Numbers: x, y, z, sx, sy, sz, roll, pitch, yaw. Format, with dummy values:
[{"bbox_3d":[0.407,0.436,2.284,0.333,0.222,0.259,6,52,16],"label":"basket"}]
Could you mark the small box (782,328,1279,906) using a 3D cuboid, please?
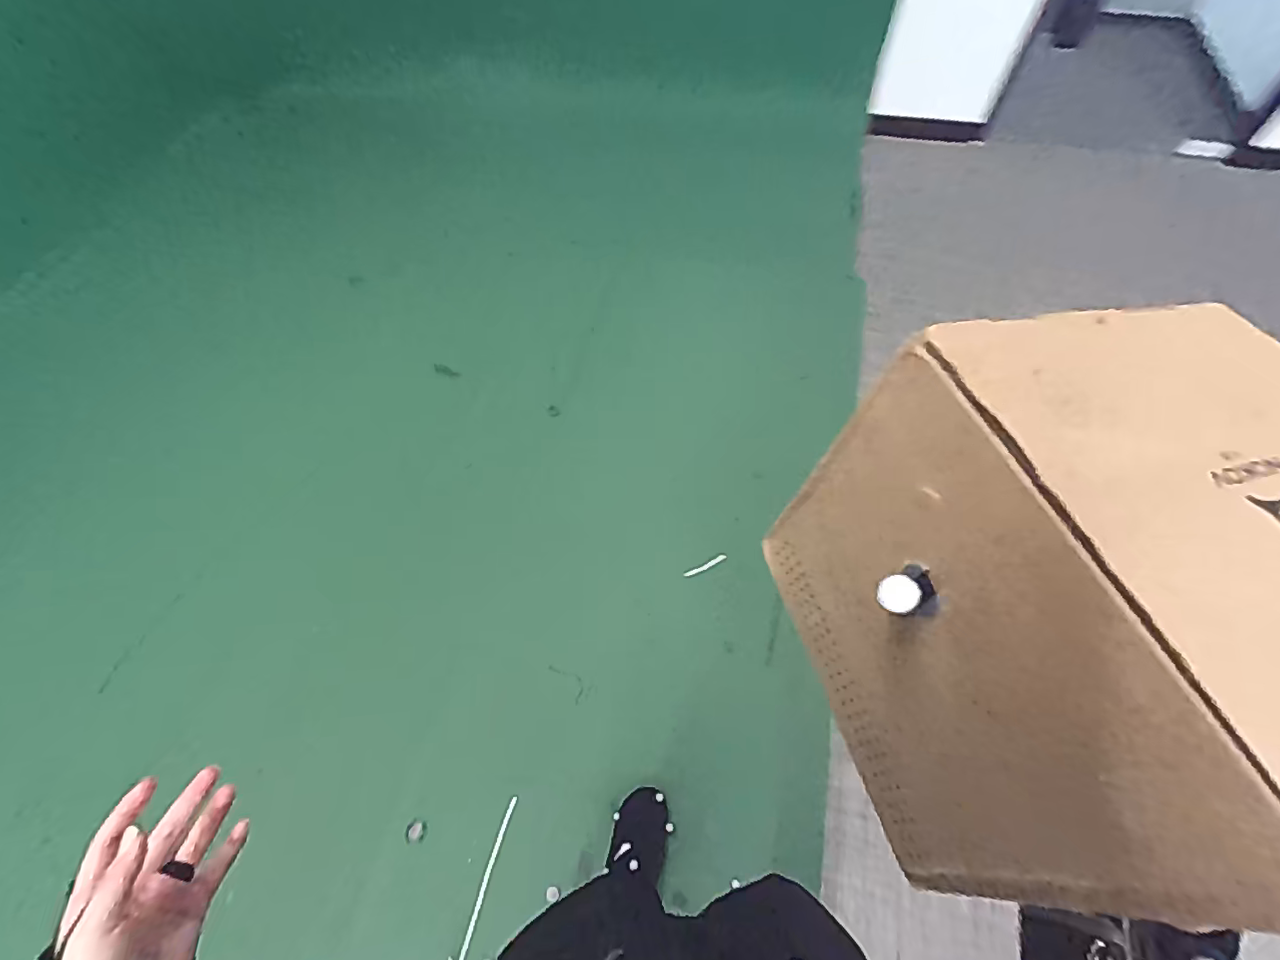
[{"bbox_3d":[0.189,0.059,0.241,0.168,0.176,0.179,-10,58,-15],"label":"small box"}]
